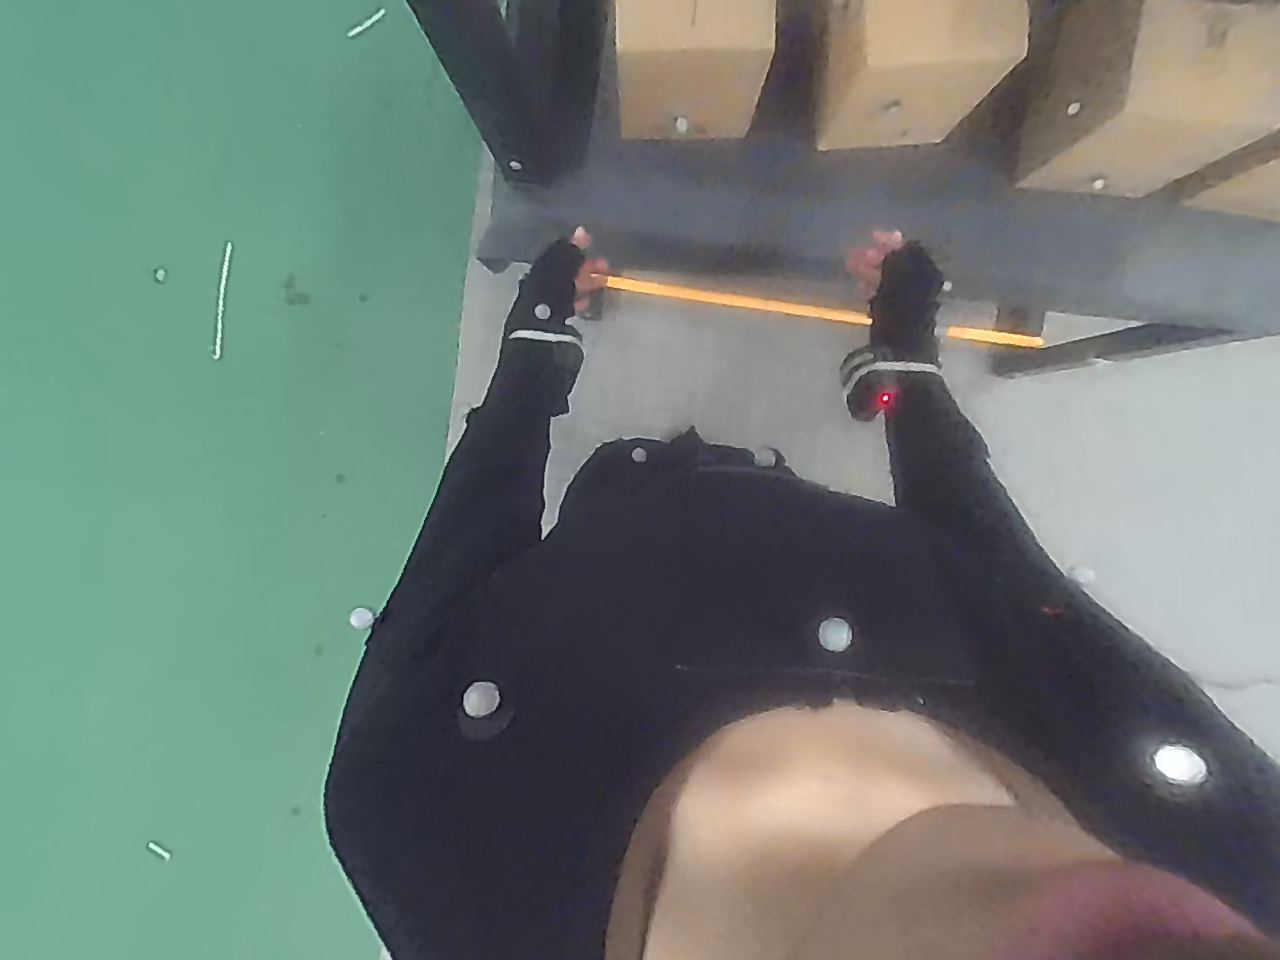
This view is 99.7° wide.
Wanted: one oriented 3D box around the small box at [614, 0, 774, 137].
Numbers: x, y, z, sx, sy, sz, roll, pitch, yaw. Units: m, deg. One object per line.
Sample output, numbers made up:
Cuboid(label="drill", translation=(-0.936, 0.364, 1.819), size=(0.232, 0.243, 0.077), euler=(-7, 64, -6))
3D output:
Cuboid(label="small box", translation=(0.056, -0.535, 0.626), size=(0.168, 0.176, 0.179), euler=(0, 95, 1))
